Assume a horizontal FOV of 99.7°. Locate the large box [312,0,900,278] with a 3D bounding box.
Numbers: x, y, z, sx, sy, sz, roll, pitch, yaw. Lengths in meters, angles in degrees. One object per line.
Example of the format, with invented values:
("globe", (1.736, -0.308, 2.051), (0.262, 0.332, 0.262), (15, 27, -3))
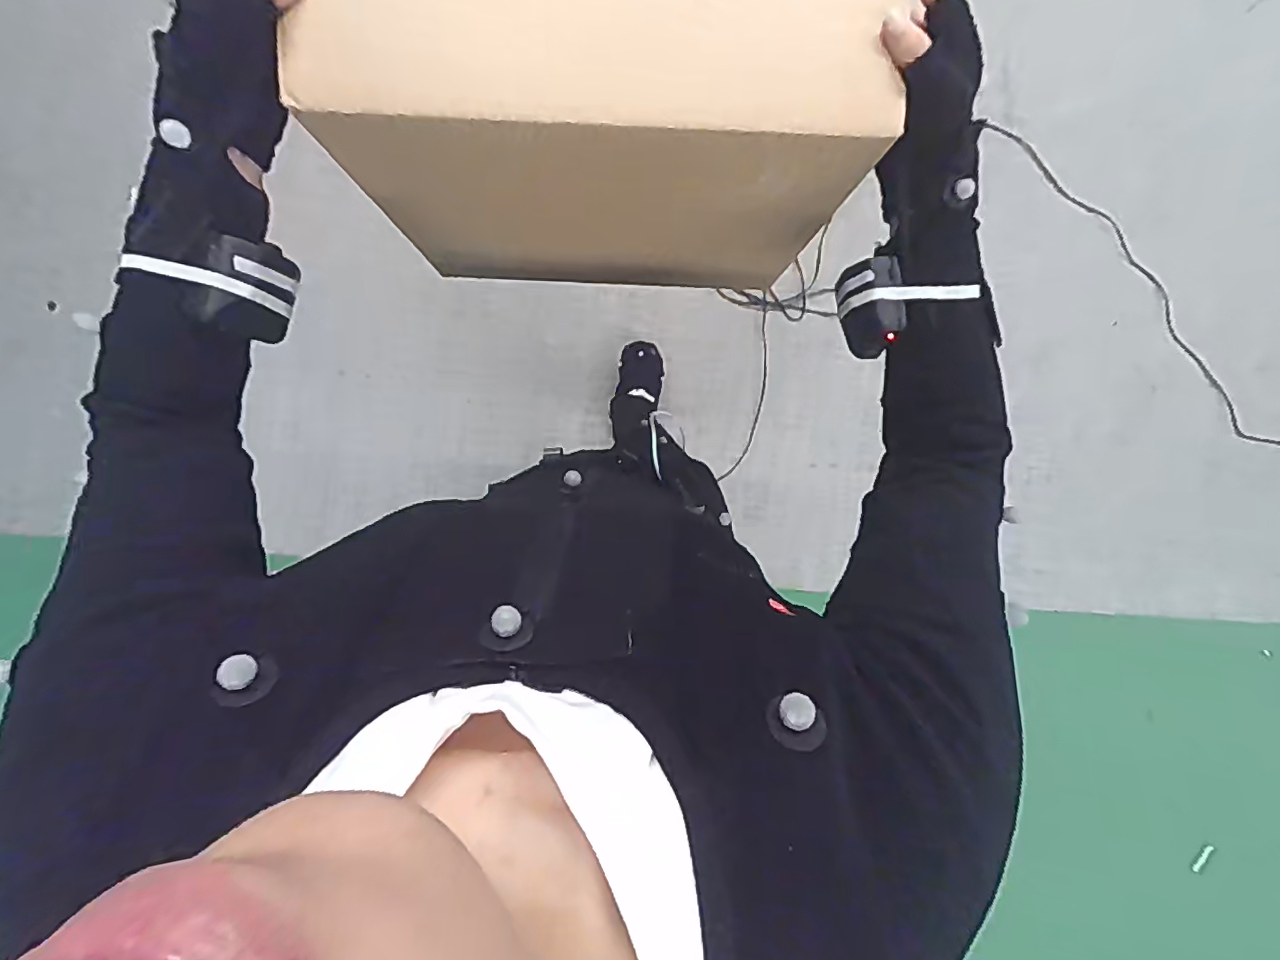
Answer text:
("large box", (-0.026, -0.399, 0.512), (0.408, 0.320, 0.320), (1, 92, -4))
